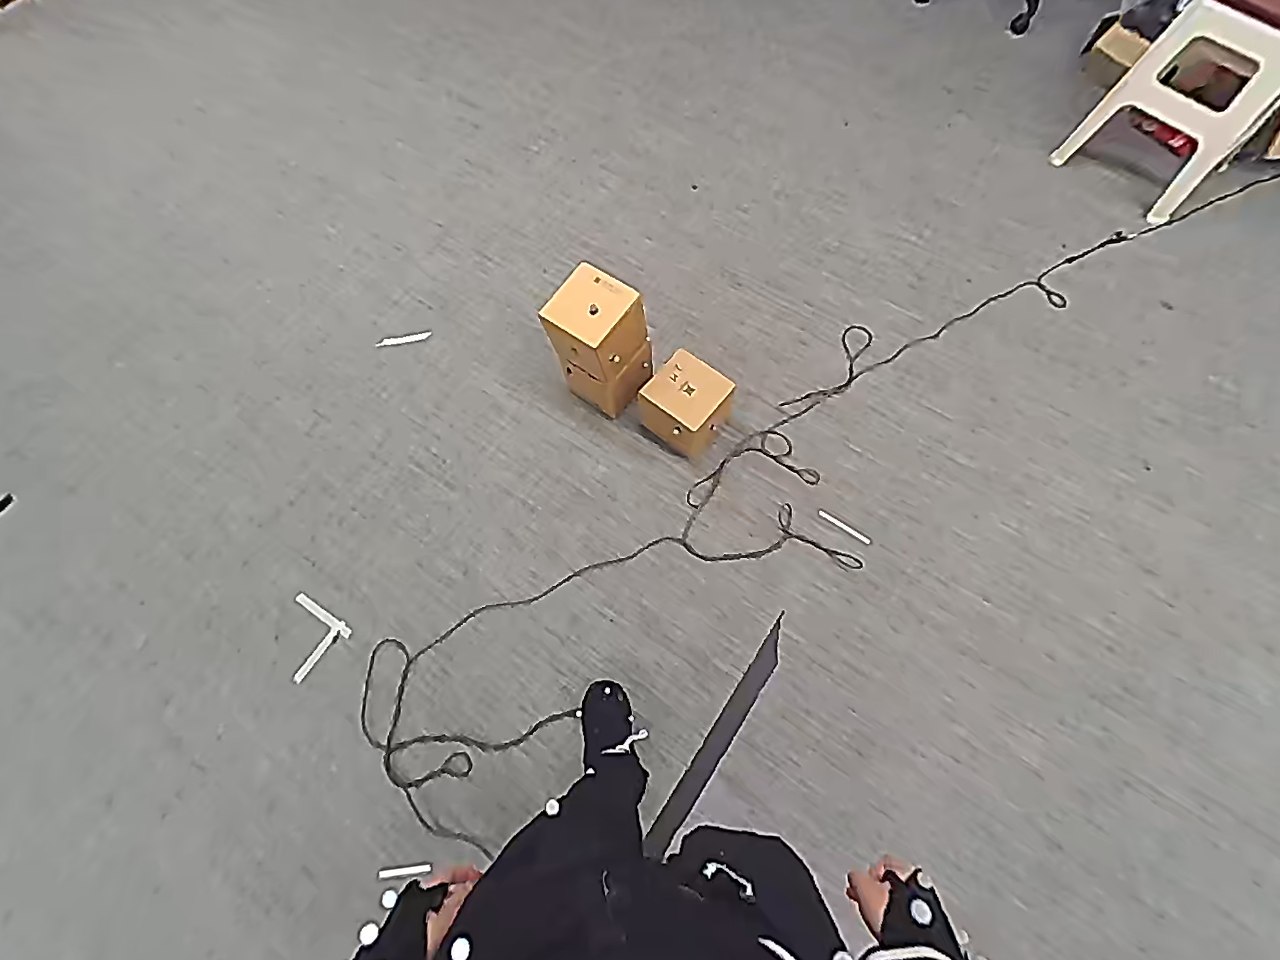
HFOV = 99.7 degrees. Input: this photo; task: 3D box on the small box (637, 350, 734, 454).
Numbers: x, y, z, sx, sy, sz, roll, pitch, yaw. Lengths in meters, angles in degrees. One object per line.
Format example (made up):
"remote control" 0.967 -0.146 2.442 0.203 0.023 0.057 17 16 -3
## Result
"small box" 0.113 -0.187 1.370 0.179 0.176 0.168 37 74 16
